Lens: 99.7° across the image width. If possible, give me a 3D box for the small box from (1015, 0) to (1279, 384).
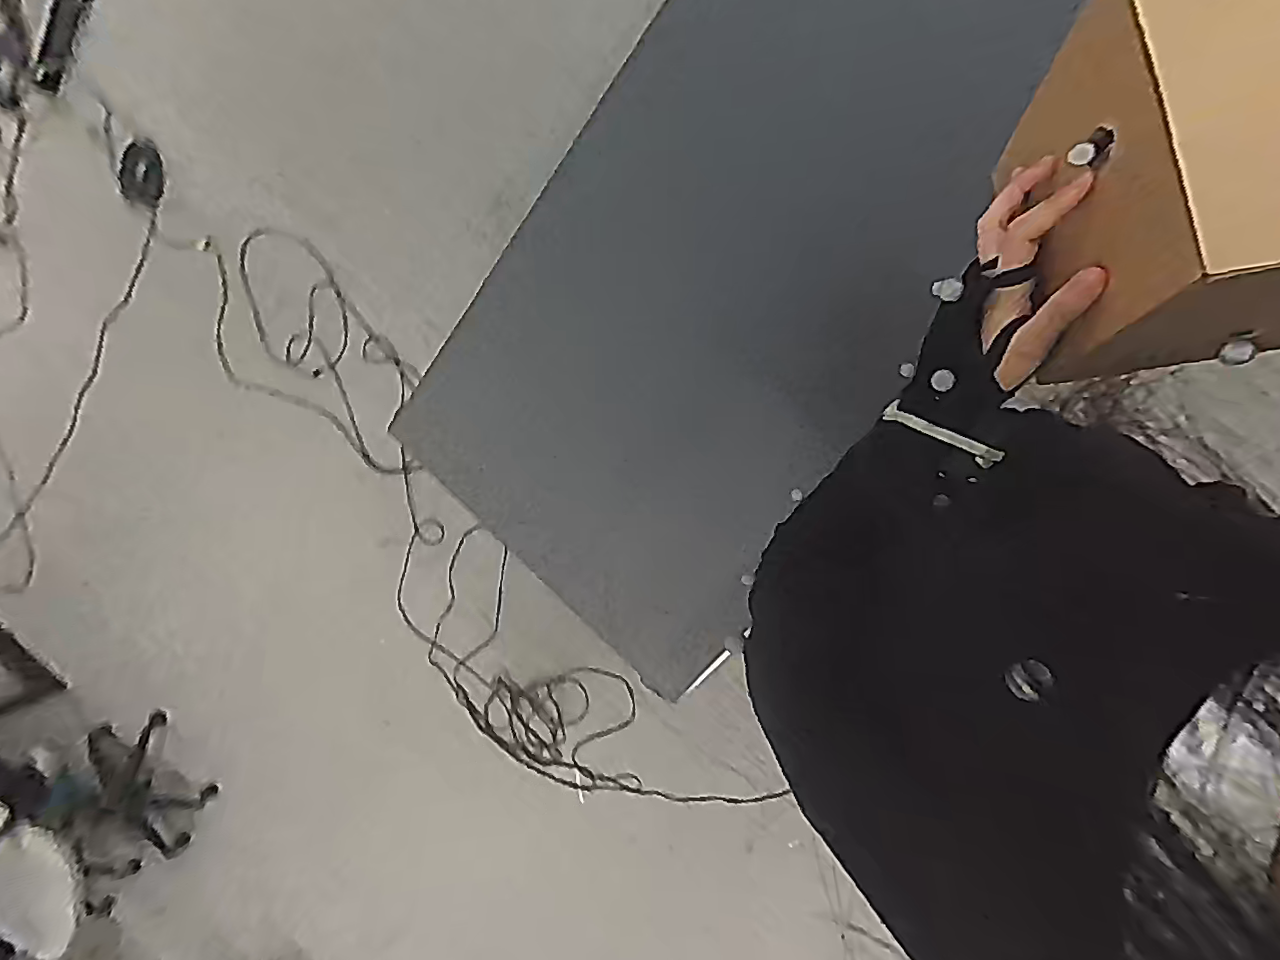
[{"bbox_3d":[0.339,-0.170,0.298,0.168,0.176,0.179,-6,81,14],"label":"small box"}]
